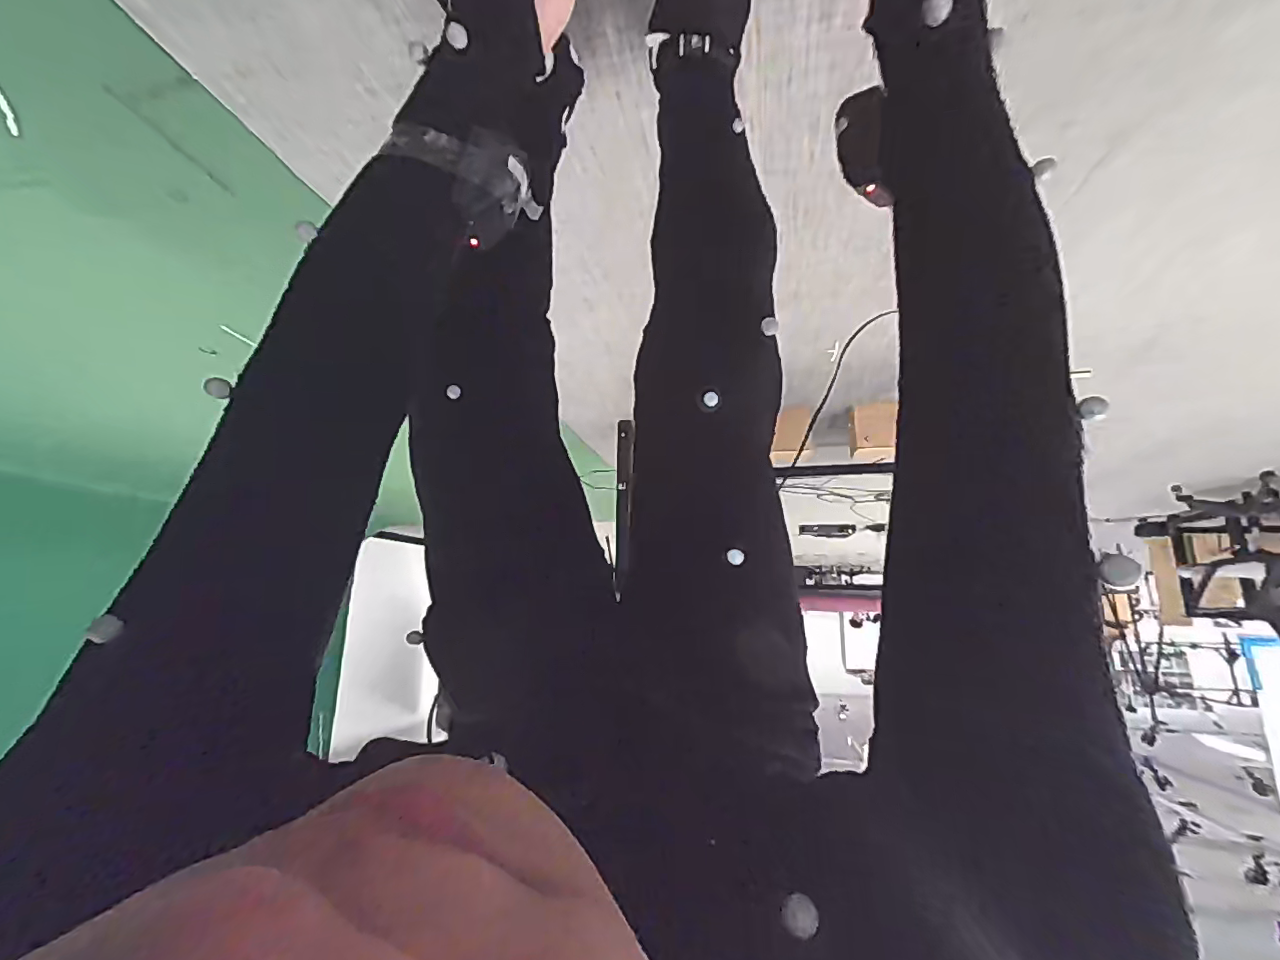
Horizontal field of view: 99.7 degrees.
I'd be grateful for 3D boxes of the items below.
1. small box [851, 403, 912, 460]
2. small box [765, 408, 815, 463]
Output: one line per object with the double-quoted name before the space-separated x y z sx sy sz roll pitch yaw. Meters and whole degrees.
"small box" 0.884 -0.177 1.992 0.179 0.176 0.168 -2 167 14
"small box" 0.565 -0.168 2.055 0.179 0.176 0.168 -2 167 13
